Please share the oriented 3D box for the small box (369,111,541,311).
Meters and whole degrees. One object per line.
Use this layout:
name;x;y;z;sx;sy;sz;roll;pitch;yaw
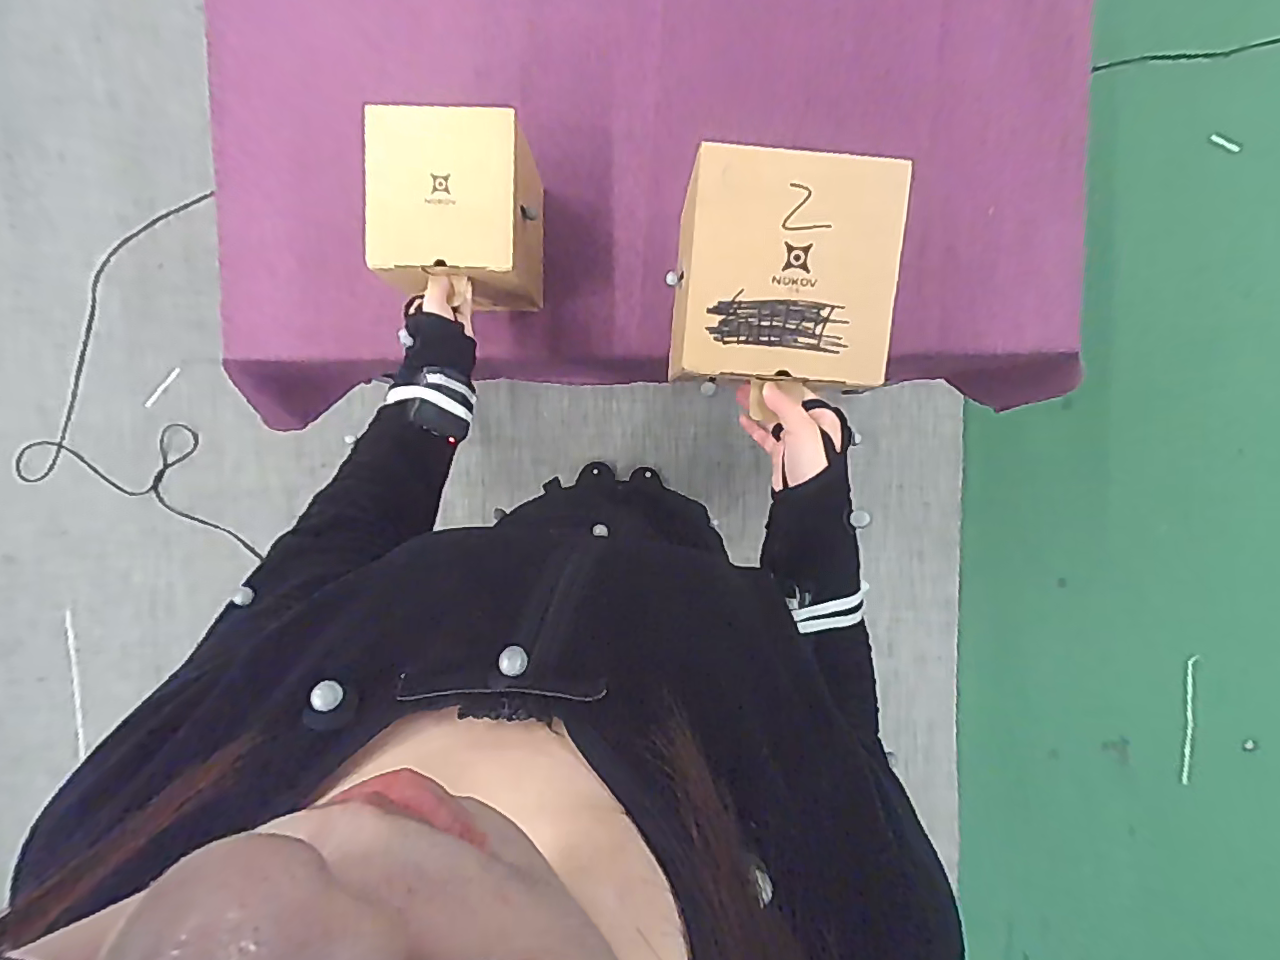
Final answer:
small box;-0.224;-0.329;0.690;0.168;0.176;0.179;1;94;0
